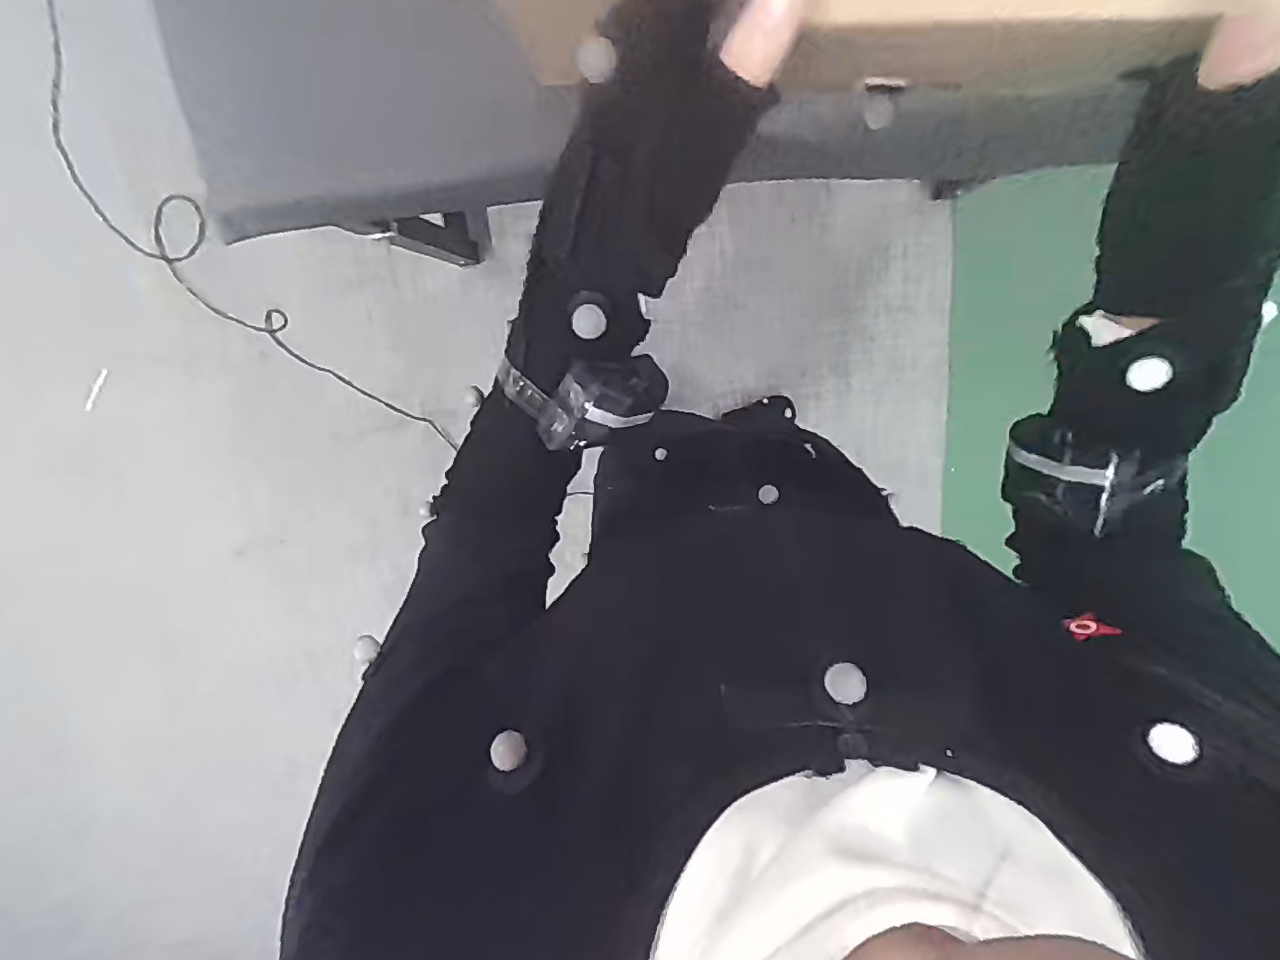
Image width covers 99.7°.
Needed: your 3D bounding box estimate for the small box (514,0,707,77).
[{"bbox_3d":[-0.028,-0.491,0.480,0.179,0.176,0.168,-2,104,3],"label":"small box"}]
